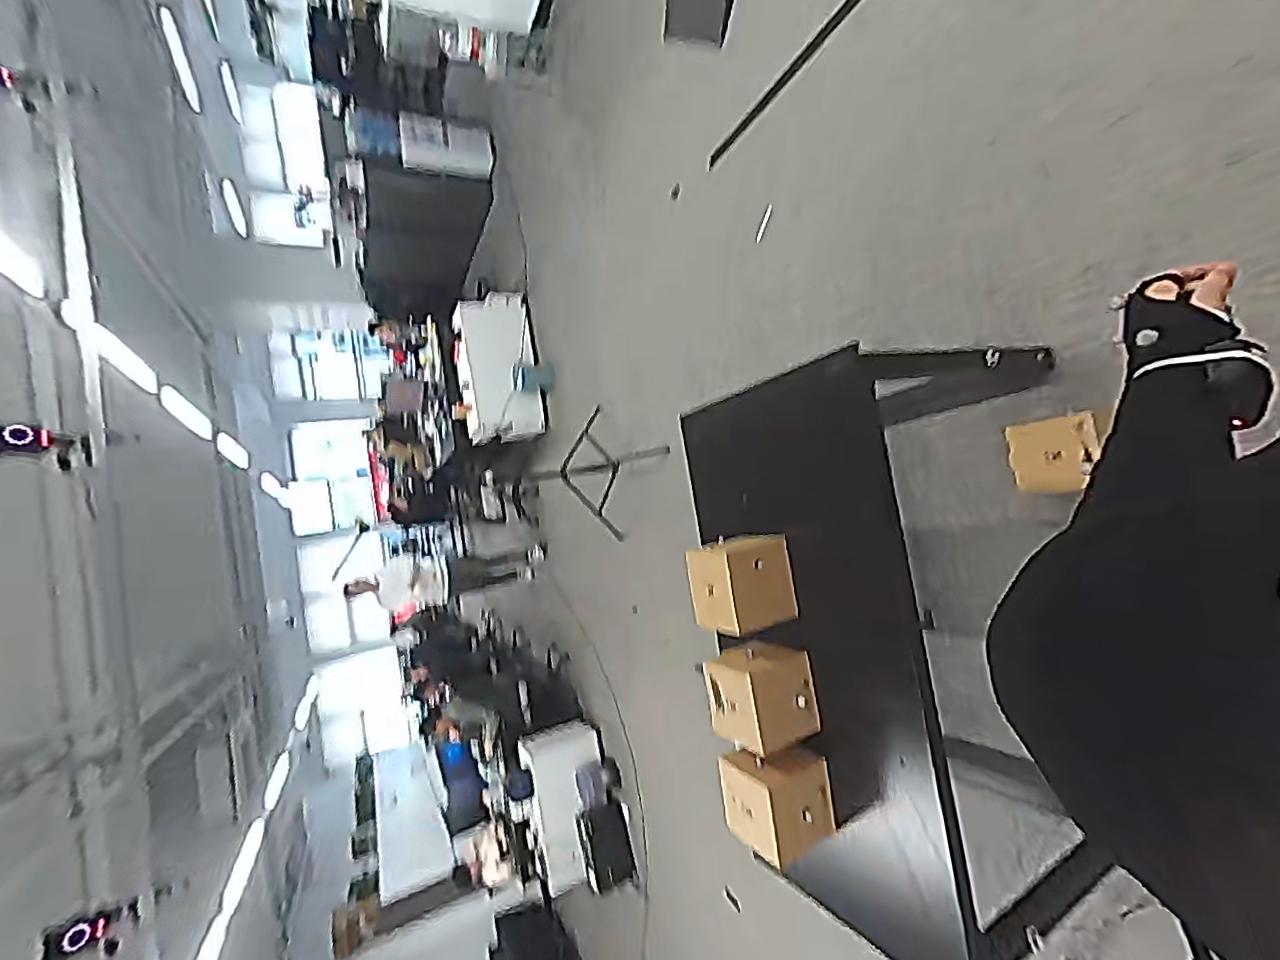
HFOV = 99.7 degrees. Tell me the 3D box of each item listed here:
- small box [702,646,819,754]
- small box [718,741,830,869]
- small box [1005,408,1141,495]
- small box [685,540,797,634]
[{"bbox_3d":[0.266,0.476,1.201,0.179,0.176,0.168,-17,81,61],"label":"small box"},{"bbox_3d":[0.300,0.697,1.195,0.179,0.176,0.168,-9,89,62],"label":"small box"},{"bbox_3d":[0.997,-0.064,1.249,0.179,0.176,0.168,-18,82,62],"label":"small box"},{"bbox_3d":[0.226,0.231,1.217,0.168,0.176,0.179,-16,84,63],"label":"small box"}]
